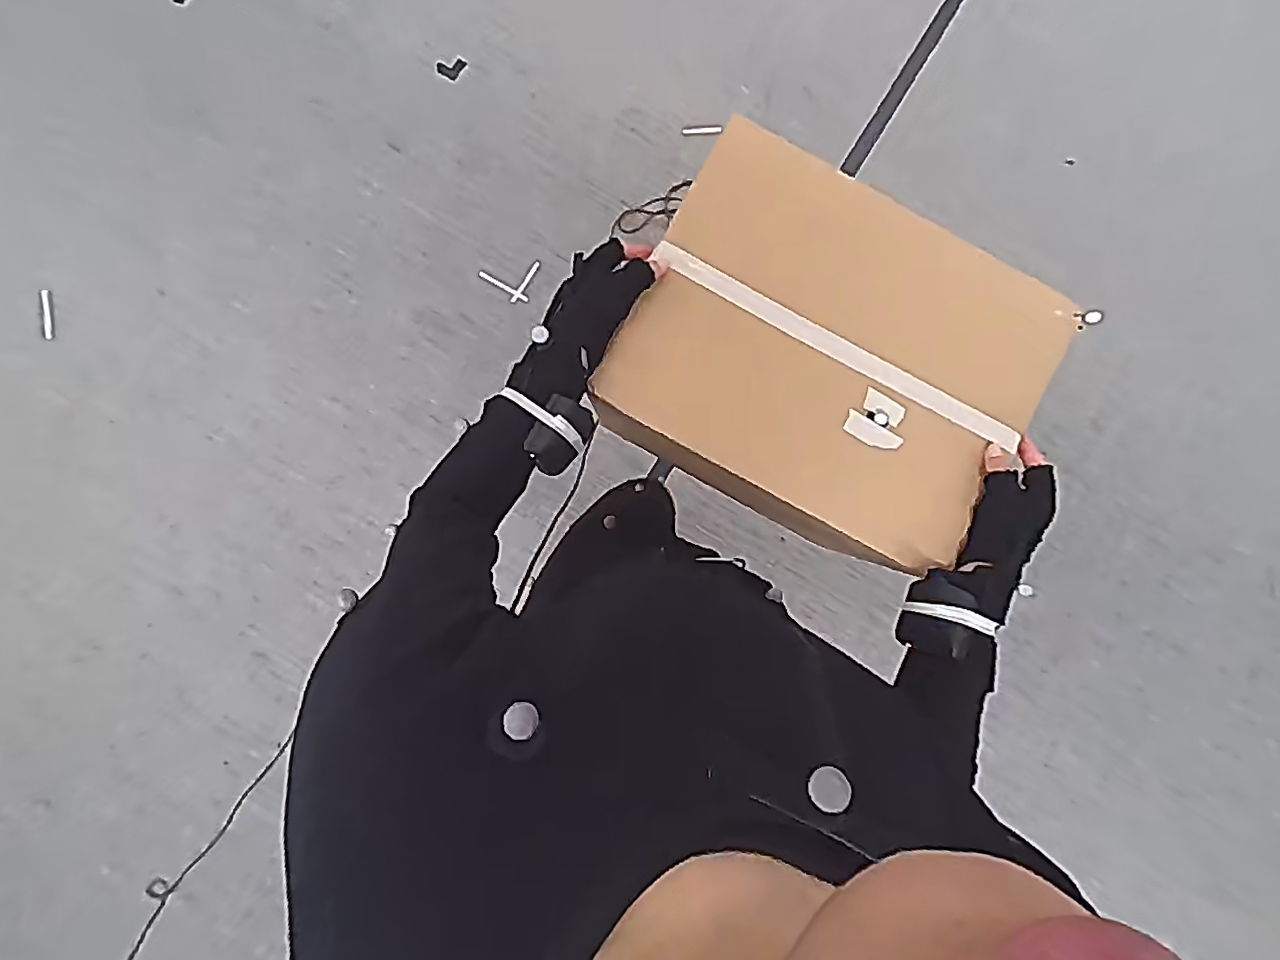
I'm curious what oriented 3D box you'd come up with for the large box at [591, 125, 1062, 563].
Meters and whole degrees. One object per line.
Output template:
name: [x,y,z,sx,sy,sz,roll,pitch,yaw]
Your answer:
large box: [0.186,-0.138,0.698,0.408,0.320,0.320,29,90,-2]
